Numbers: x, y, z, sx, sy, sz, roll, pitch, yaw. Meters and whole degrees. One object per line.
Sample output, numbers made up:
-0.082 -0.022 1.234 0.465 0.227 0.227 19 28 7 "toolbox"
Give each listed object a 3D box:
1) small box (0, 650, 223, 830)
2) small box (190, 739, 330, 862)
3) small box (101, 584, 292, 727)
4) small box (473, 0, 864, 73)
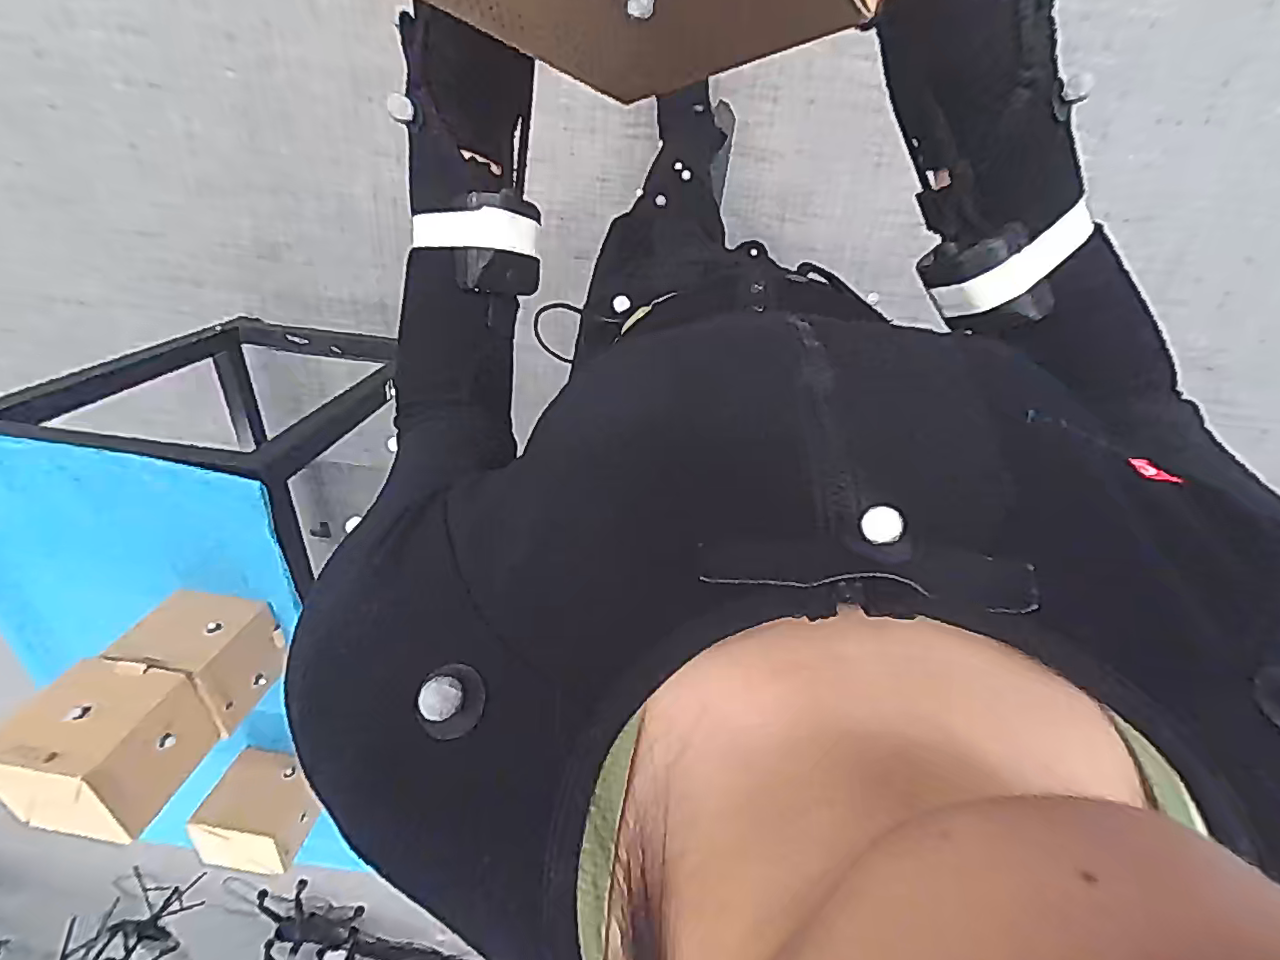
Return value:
-0.787 0.386 0.805 0.168 0.176 0.179 9 124 2 "small box"
-0.823 0.708 1.189 0.179 0.176 0.168 11 120 -1 "small box"
-0.765 0.309 0.948 0.179 0.176 0.168 7 121 2 "small box"
-0.002 -0.314 0.235 0.176 0.179 0.168 13 108 39 "small box"
